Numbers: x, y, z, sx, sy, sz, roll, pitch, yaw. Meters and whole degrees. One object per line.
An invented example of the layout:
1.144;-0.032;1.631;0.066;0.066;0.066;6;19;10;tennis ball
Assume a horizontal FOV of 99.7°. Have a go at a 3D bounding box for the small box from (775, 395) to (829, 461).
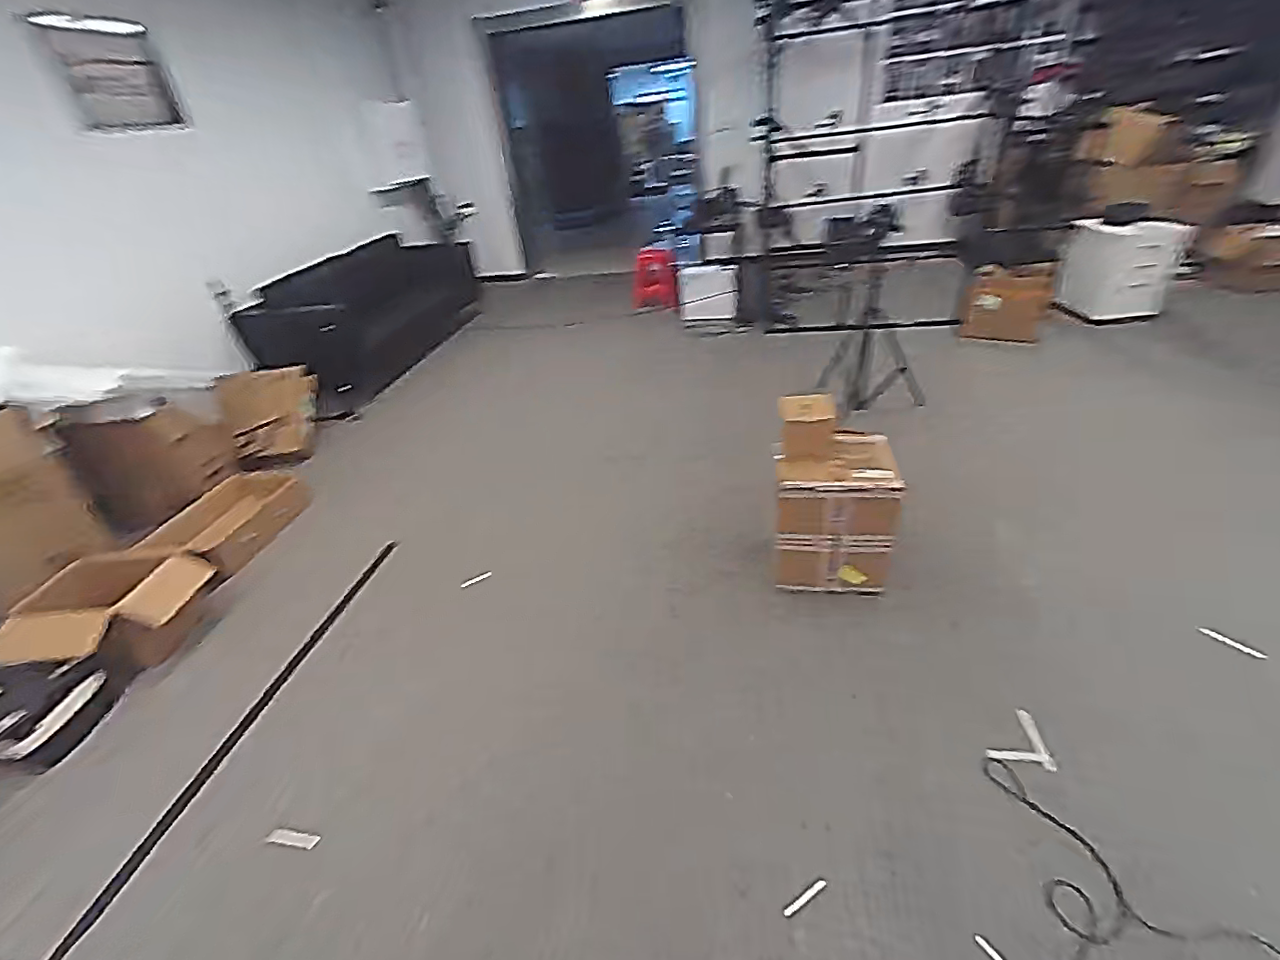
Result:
0.570;-0.184;1.920;0.168;0.176;0.179;-2;37;11;small box
